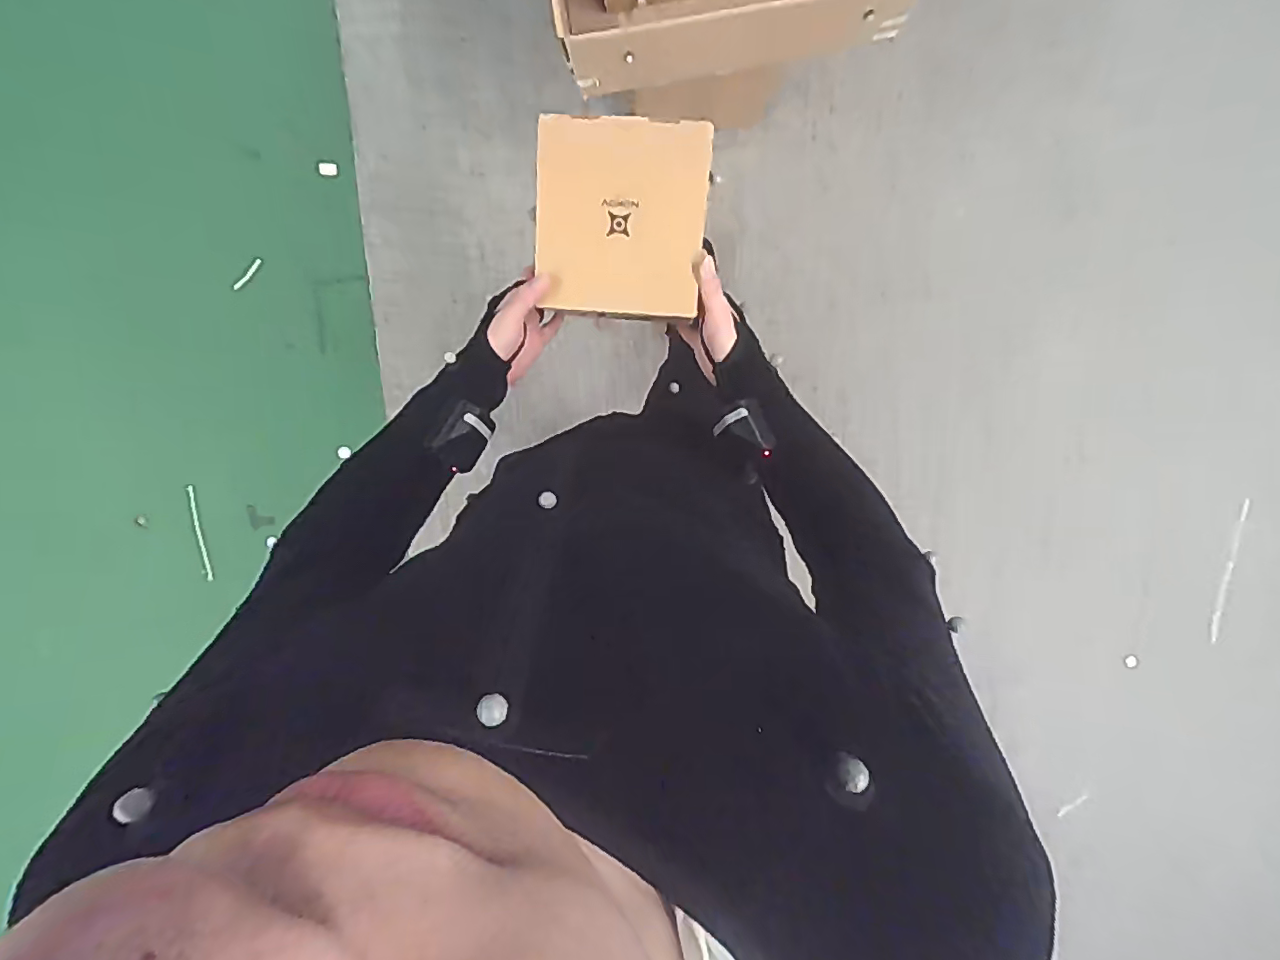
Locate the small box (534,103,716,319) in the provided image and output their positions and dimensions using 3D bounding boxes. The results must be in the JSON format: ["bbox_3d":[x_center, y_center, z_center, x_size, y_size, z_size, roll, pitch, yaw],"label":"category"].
[{"bbox_3d":[-0.012,-0.272,0.586,0.168,0.176,0.179,5,104,3],"label":"small box"}]
